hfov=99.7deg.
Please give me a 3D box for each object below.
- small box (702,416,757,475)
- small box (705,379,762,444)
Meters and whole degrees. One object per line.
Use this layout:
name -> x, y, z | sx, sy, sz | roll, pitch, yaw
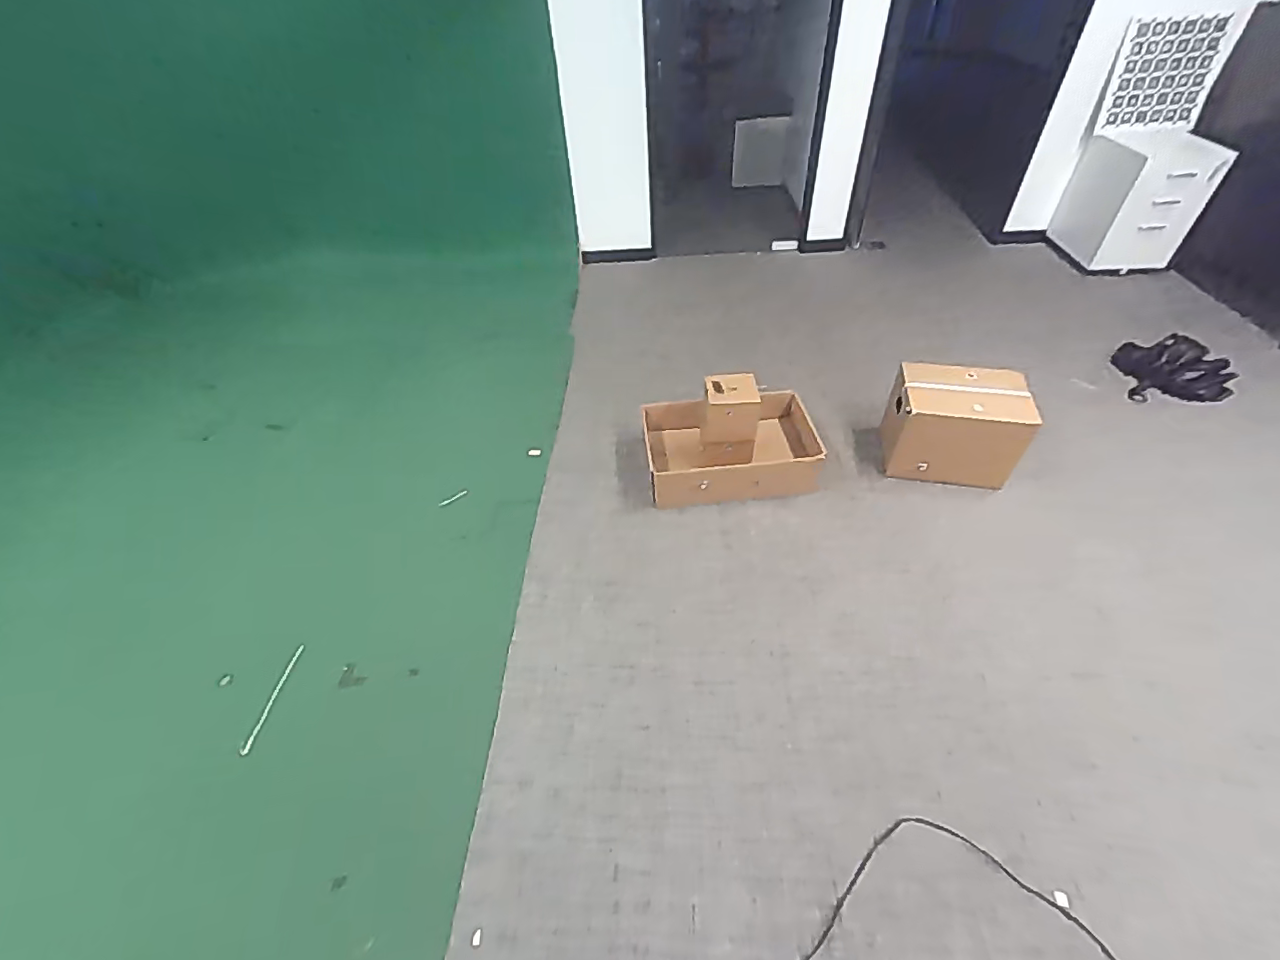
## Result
small box -> 0.331, -0.131, 2.038 | 0.179, 0.176, 0.168 | -4, 45, -2
small box -> 0.325, -0.239, 1.913 | 0.179, 0.176, 0.168 | -2, 45, 1
